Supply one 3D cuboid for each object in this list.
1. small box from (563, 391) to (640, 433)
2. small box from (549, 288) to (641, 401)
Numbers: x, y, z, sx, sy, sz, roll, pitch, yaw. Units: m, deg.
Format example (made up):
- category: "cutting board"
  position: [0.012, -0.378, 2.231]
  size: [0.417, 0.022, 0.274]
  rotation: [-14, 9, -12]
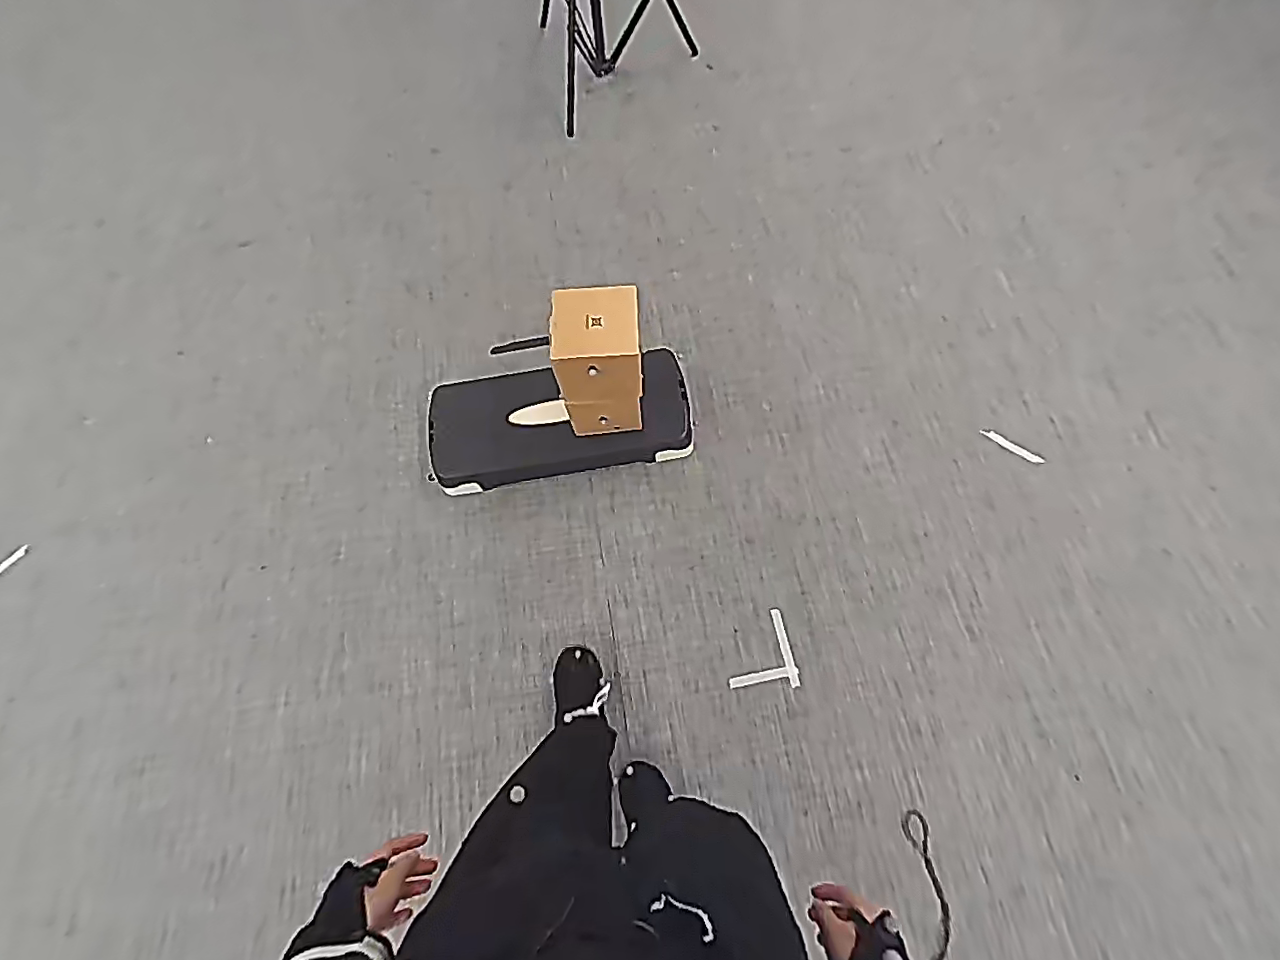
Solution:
- category: "small box"
  position: [-0.091, -0.221, 1.290]
  size: [0.168, 0.176, 0.179]
  rotation: [-6, 69, 0]
- category: "small box"
  position: [-0.088, -0.279, 1.138]
  size: [0.179, 0.176, 0.168]
  rotation: [-3, 70, 2]
